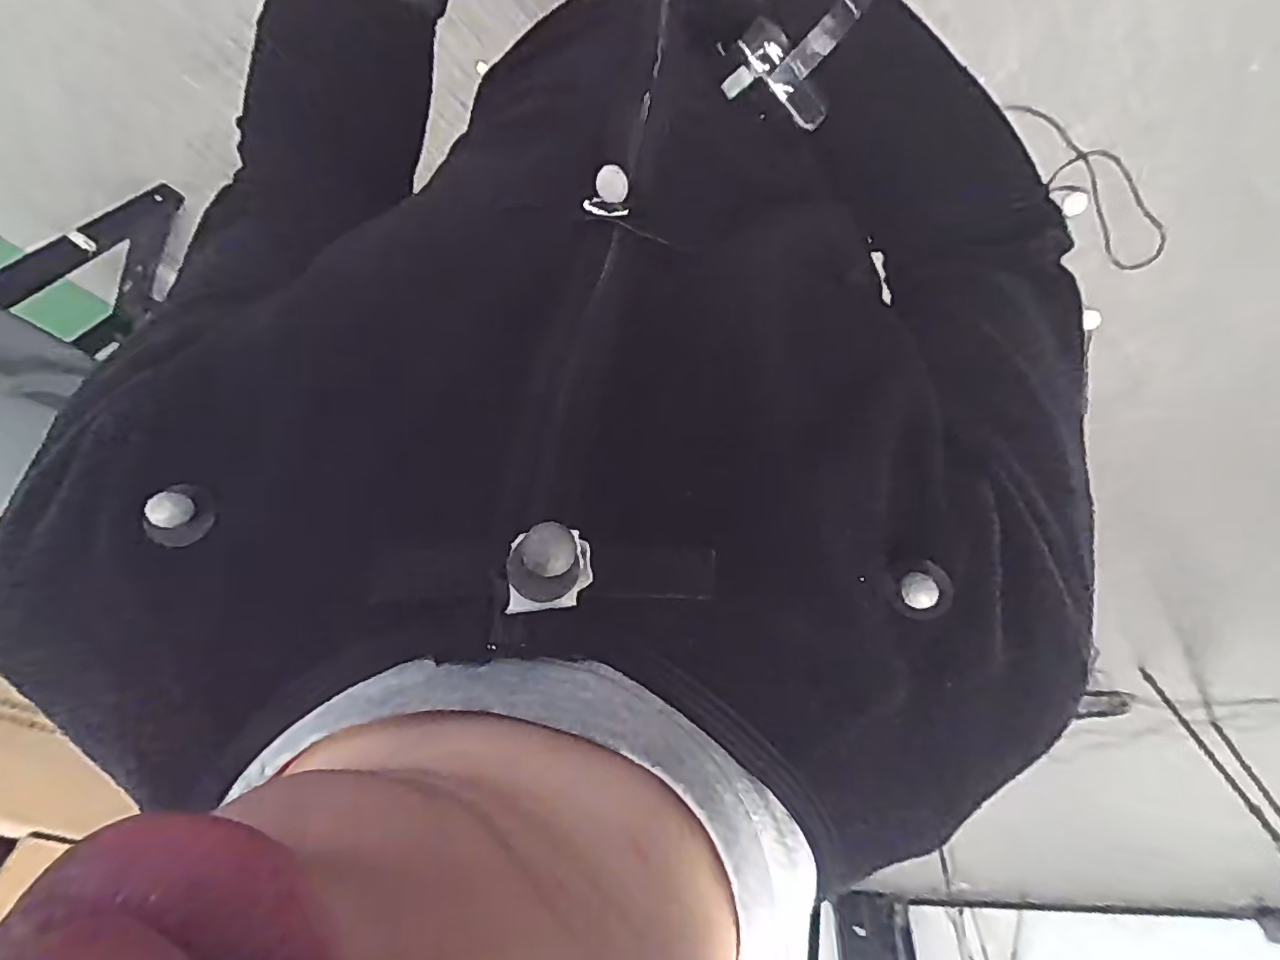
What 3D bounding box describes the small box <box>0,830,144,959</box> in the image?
[{"bbox_3d":[-1.006,0.711,0.920,0.168,0.176,0.179,-30,127,34],"label":"small box"}]
